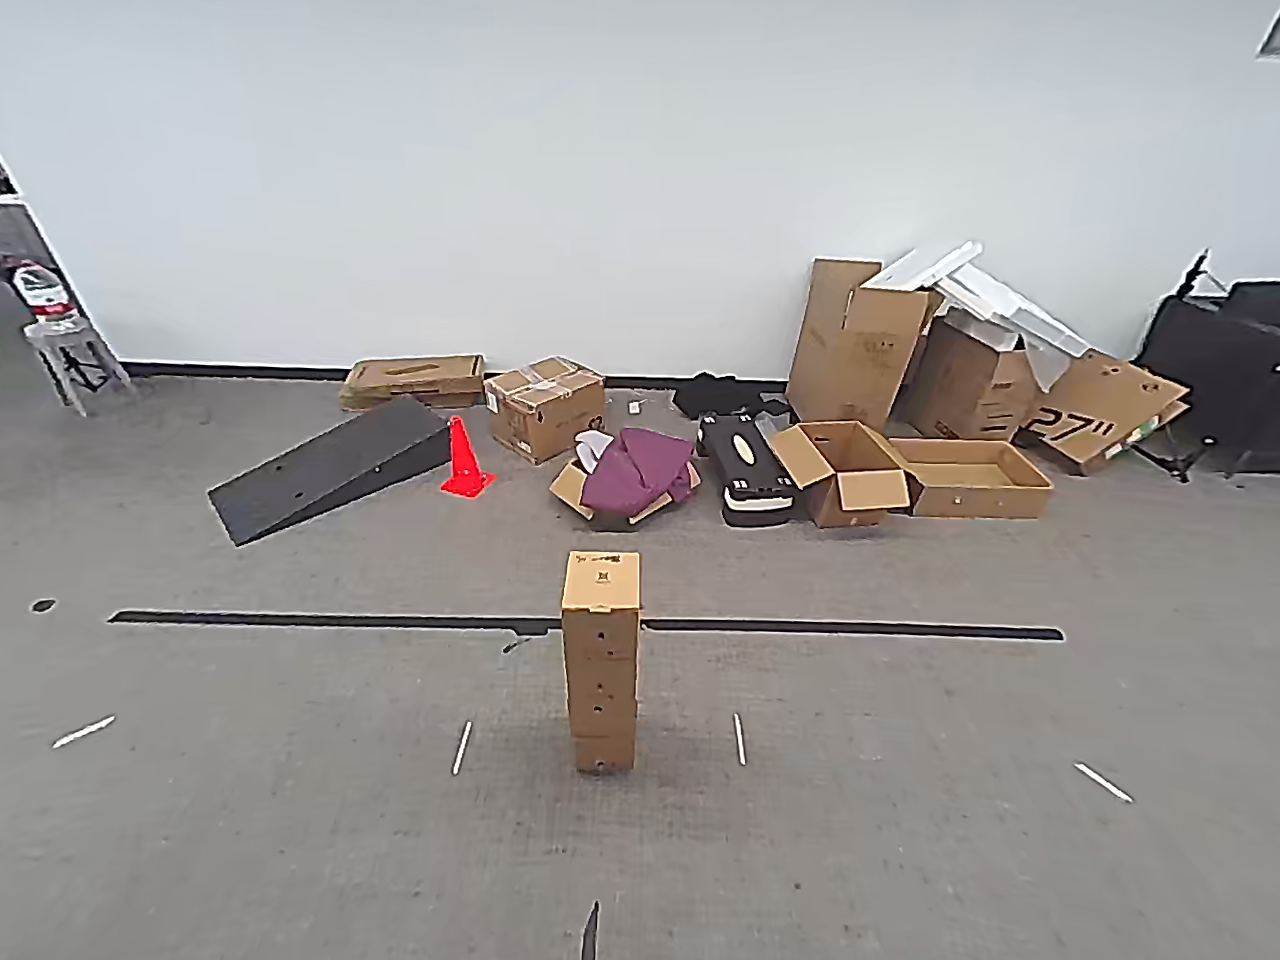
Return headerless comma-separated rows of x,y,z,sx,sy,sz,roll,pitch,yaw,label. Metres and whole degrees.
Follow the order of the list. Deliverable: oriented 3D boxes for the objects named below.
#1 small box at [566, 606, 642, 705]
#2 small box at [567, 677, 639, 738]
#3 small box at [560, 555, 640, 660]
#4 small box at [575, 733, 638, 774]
-0.085,0.424,1.331,0.168,0.176,0.179,2,35,2,small box
-0.092,0.560,1.424,0.179,0.176,0.168,1,35,-1,small box
-0.084,0.291,1.235,0.168,0.176,0.179,1,36,0,small box
-0.096,0.695,1.518,0.168,0.176,0.179,-2,36,-4,small box
